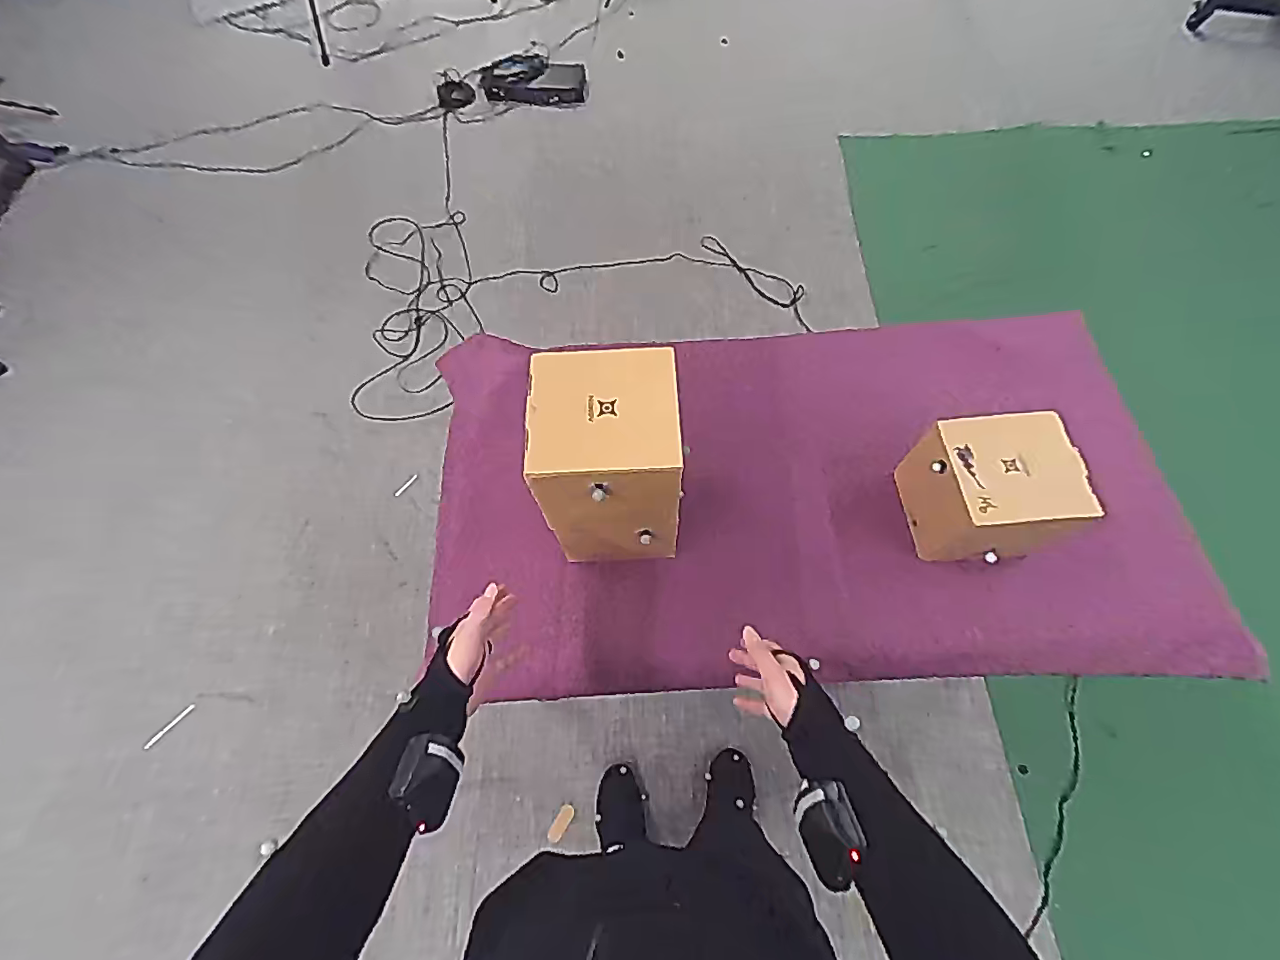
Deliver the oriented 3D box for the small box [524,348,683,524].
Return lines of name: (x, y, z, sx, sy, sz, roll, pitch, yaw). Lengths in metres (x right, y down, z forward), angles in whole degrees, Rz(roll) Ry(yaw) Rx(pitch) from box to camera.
small box: (-0.039, -0.049, 0.696, 0.179, 0.176, 0.168, -3, 65, 2)

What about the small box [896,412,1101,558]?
small box: (0.521, 0.014, 0.817, 0.179, 0.176, 0.168, -4, 64, 1)

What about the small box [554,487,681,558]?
small box: (-0.032, 0.018, 0.844, 0.179, 0.176, 0.168, -3, 65, 1)
